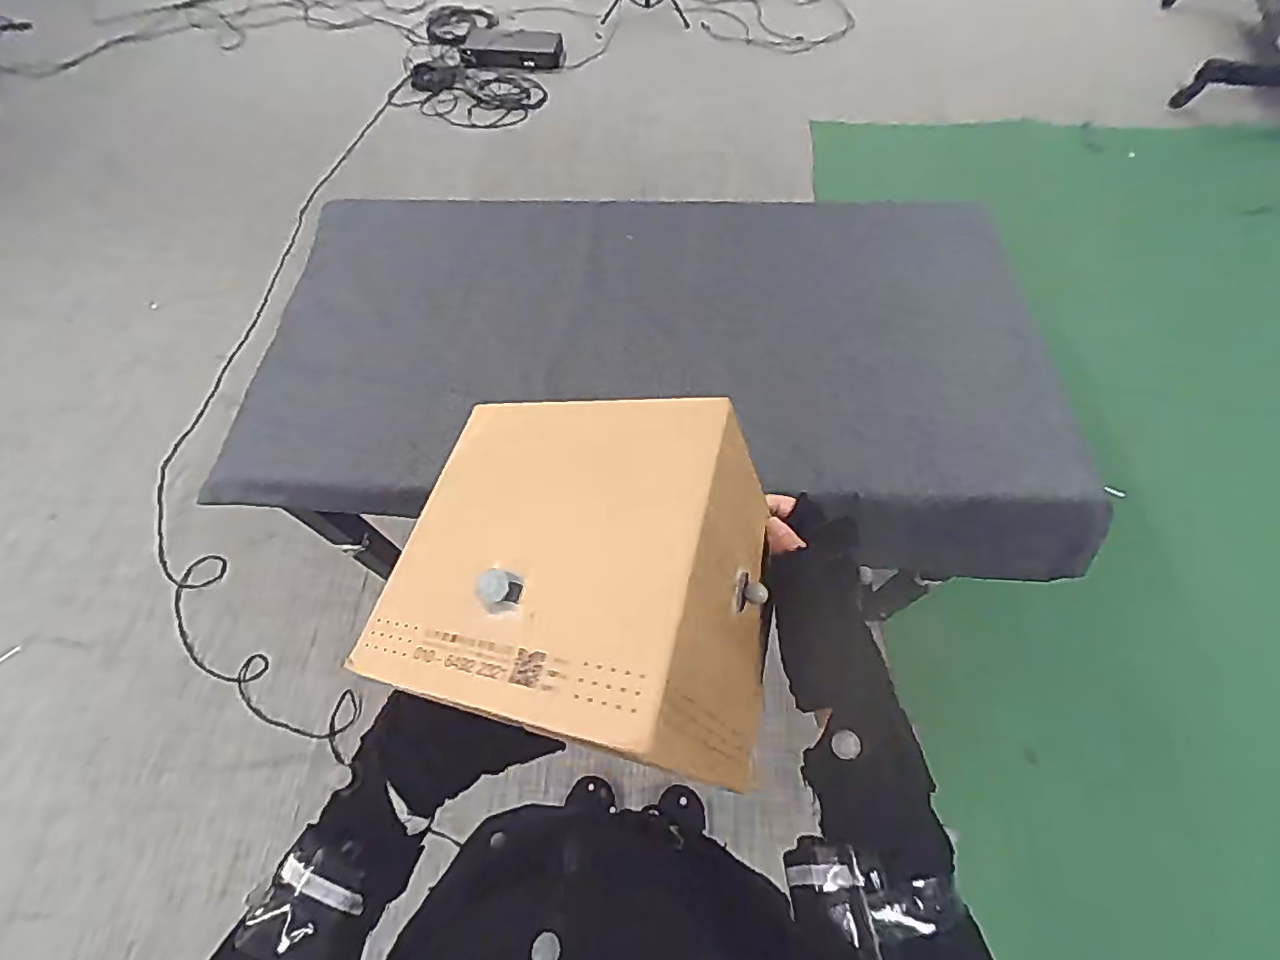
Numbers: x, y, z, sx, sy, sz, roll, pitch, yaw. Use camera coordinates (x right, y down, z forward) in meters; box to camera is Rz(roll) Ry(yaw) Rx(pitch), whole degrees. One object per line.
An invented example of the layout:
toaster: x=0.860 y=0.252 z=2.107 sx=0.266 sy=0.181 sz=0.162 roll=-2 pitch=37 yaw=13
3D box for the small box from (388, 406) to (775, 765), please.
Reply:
small box: x=-0.019 y=0.071 z=0.350 sx=0.168 sy=0.179 sz=0.176 roll=2 pitch=60 yaw=25
